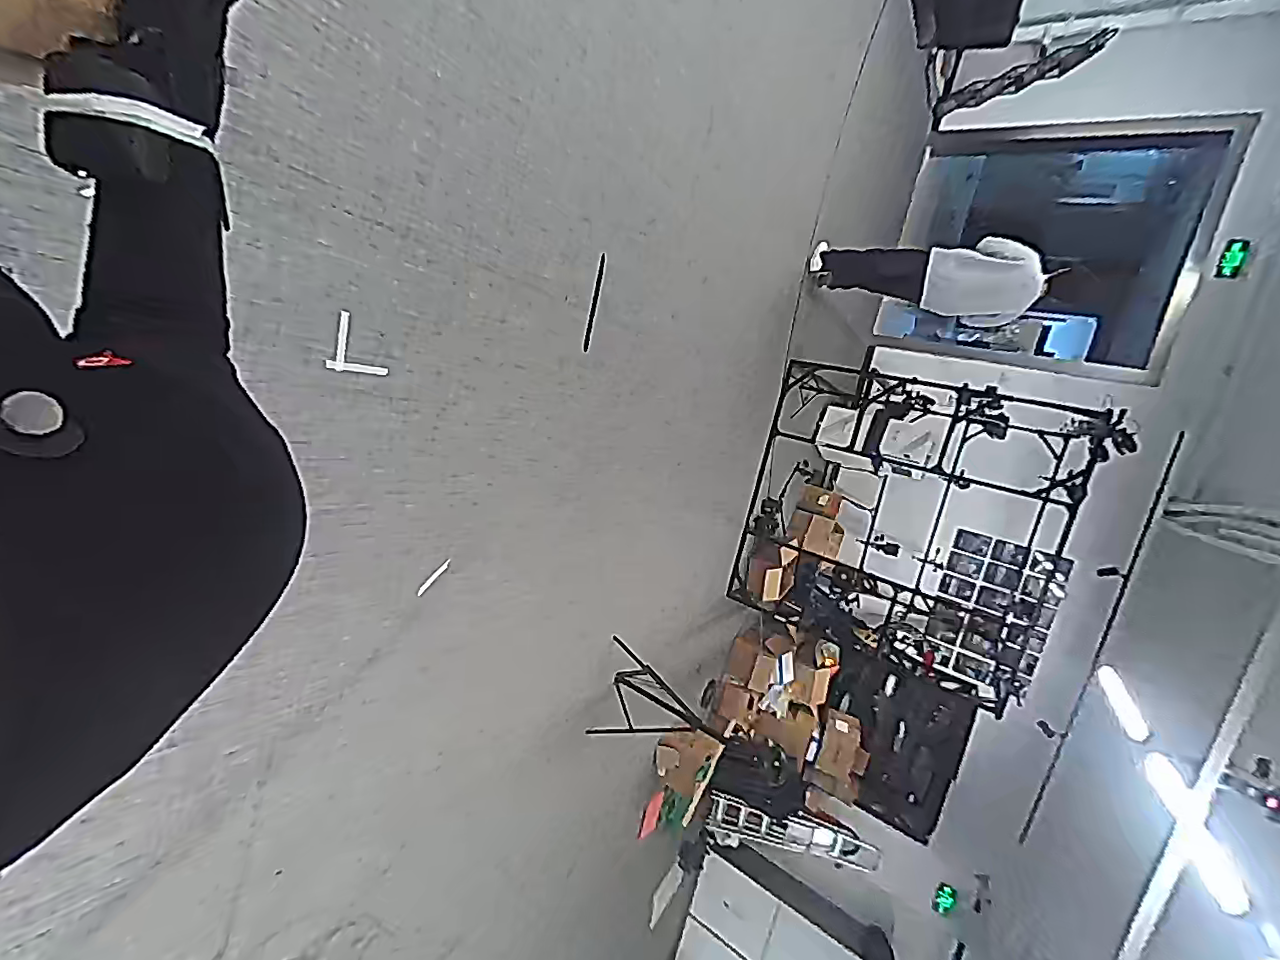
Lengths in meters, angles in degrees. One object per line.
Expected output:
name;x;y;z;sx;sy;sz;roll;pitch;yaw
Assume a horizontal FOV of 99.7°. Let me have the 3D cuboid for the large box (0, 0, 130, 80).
large box;-0.538;-0.442;0.228;0.408;0.320;0.320;-11;122;-58
